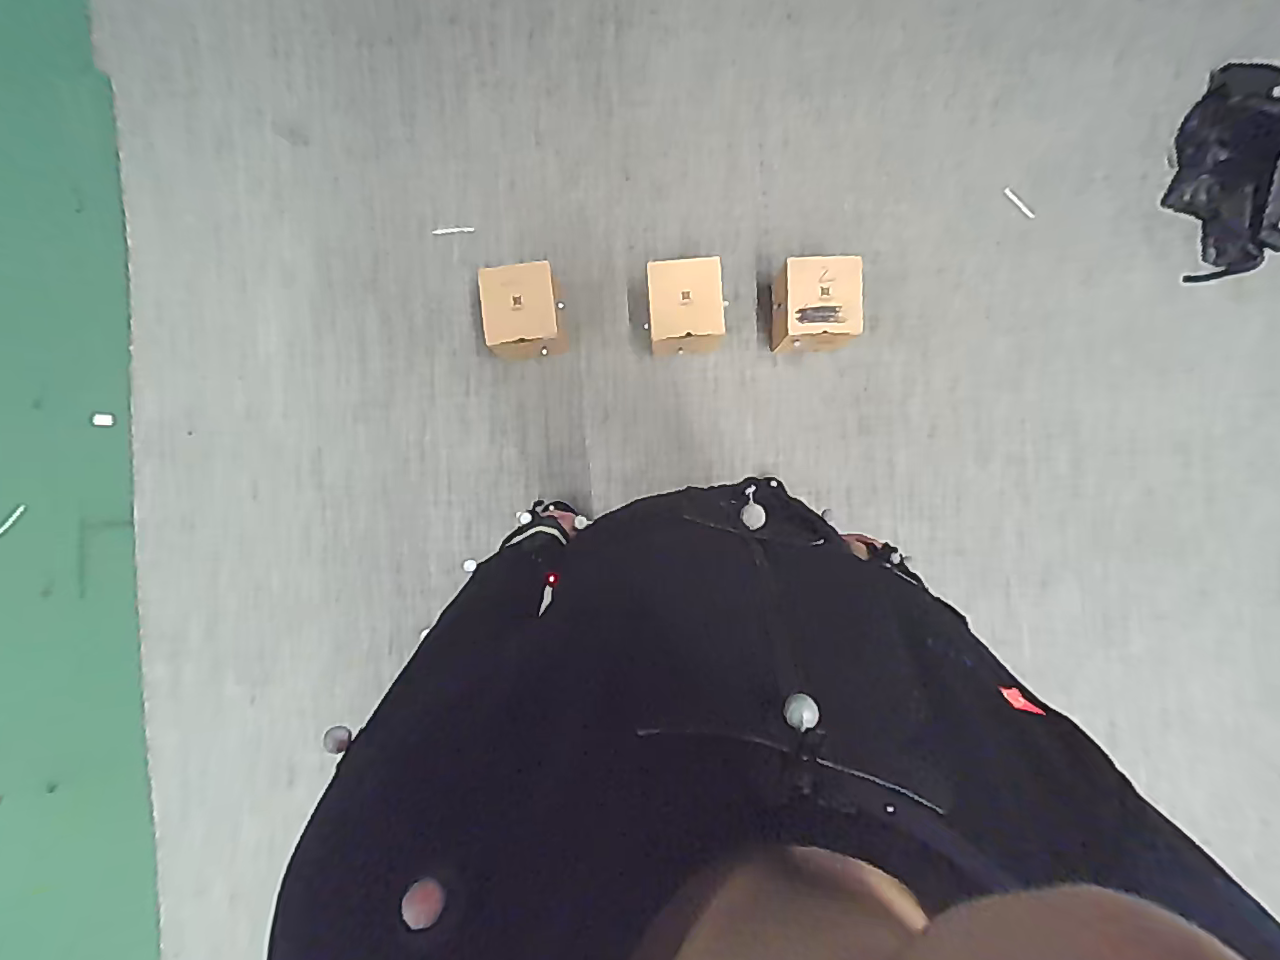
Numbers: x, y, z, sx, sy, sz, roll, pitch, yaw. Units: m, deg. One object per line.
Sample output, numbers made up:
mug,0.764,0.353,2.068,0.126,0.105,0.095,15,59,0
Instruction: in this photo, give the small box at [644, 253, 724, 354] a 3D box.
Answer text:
small box,0.097,-0.404,1.258,0.168,0.176,0.179,-5,90,1

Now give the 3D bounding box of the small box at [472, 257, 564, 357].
small box,-0.278,-0.395,1.266,0.168,0.176,0.179,-7,89,1
